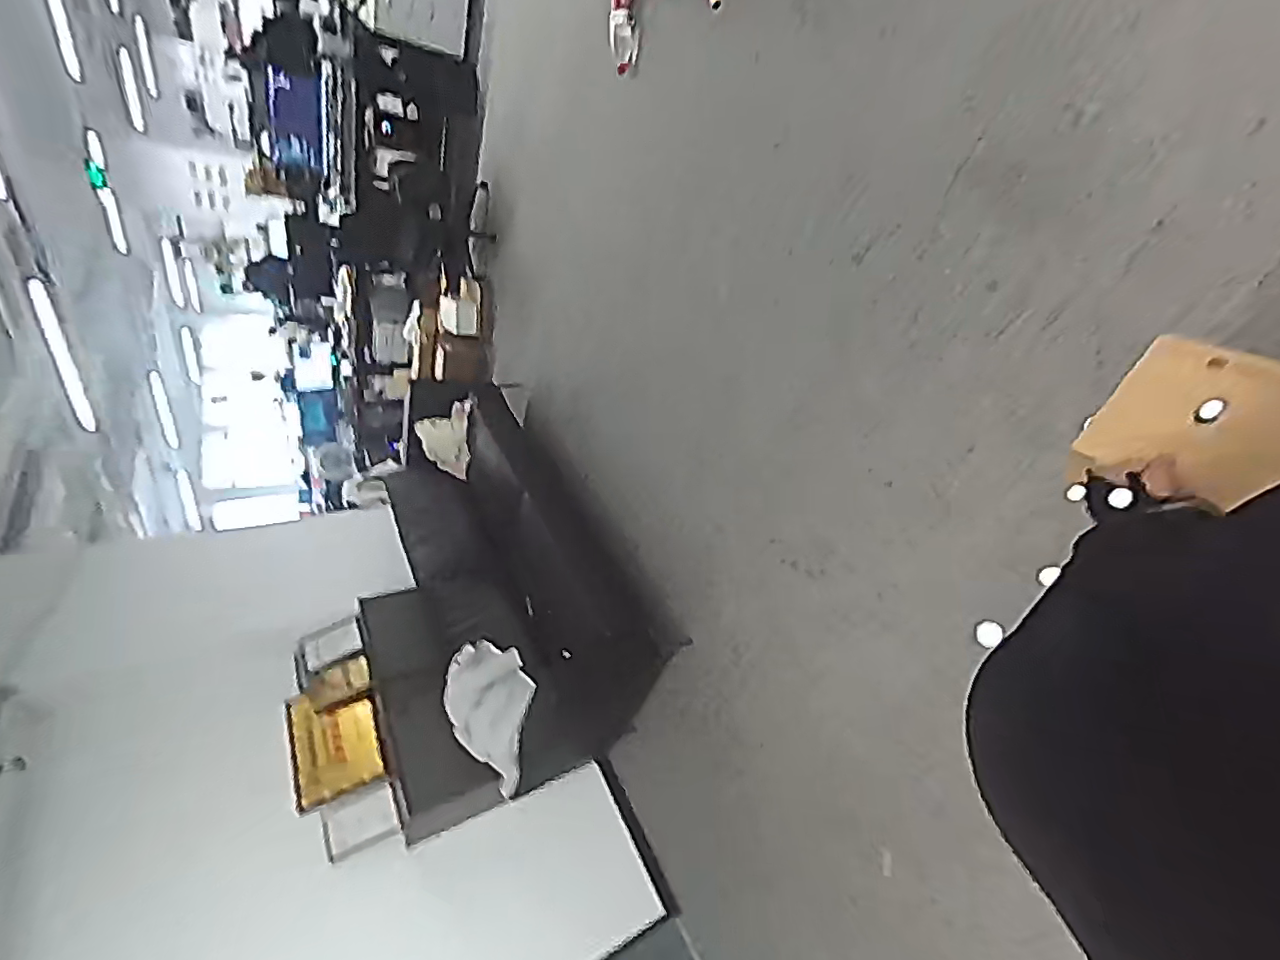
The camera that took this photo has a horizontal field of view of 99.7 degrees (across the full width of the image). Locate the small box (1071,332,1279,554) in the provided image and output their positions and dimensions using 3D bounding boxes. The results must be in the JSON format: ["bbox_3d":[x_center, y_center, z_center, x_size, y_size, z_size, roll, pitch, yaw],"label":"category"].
[{"bbox_3d":[0.655,-0.044,0.635,0.176,0.179,0.168,-53,50,4],"label":"small box"}]
